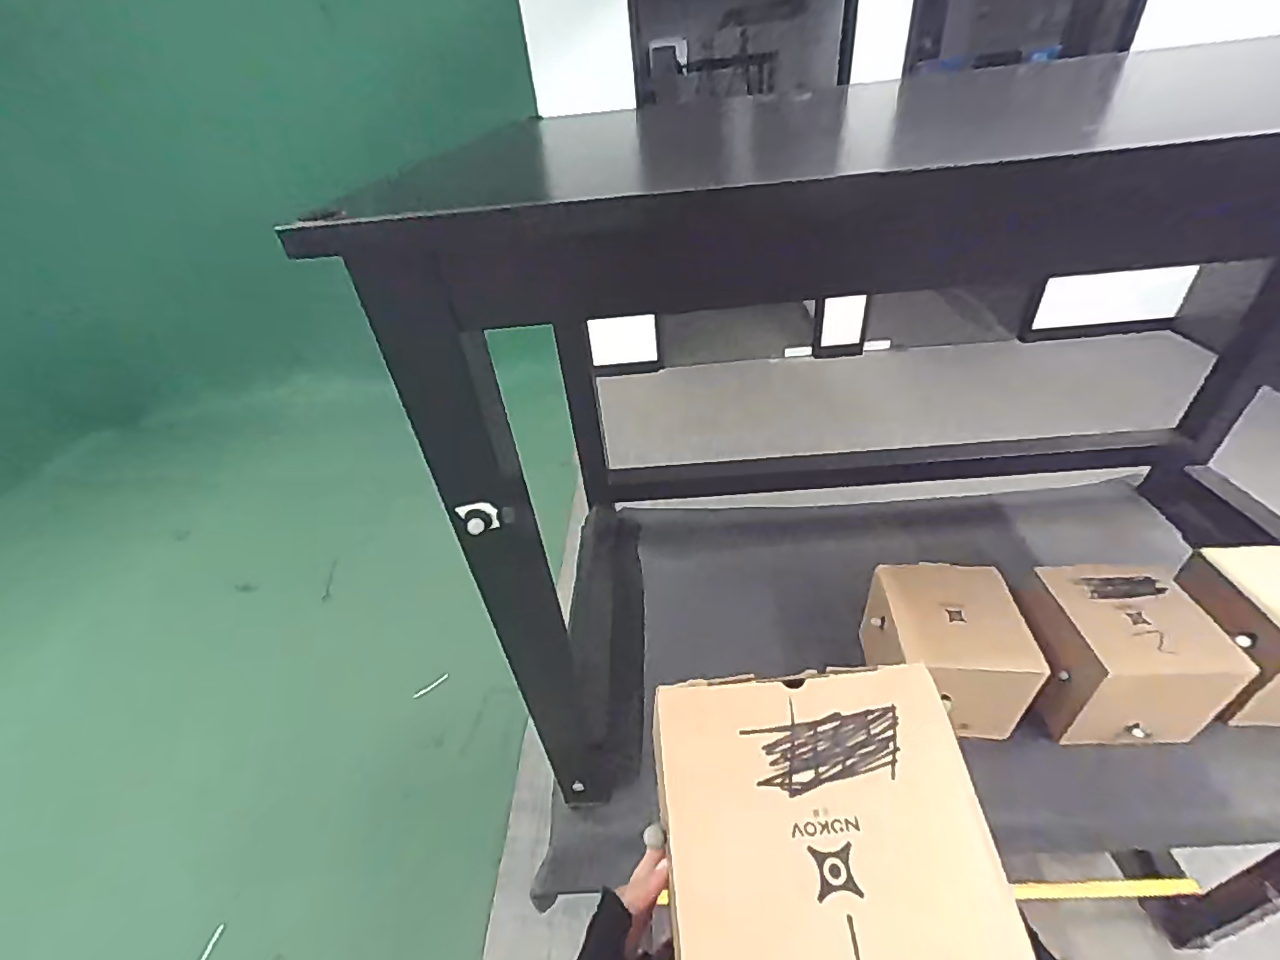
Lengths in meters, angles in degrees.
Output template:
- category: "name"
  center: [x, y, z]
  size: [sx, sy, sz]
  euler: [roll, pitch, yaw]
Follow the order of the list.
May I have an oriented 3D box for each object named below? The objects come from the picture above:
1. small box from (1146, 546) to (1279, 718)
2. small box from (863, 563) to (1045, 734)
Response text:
- category: "small box"
  center: [0.870, 0.211, 0.743]
  size: [0.168, 0.176, 0.179]
  euler: [-2, 37, 6]
- category: "small box"
  center: [0.431, 0.242, 0.778]
  size: [0.168, 0.176, 0.179]
  euler: [0, 38, 9]
